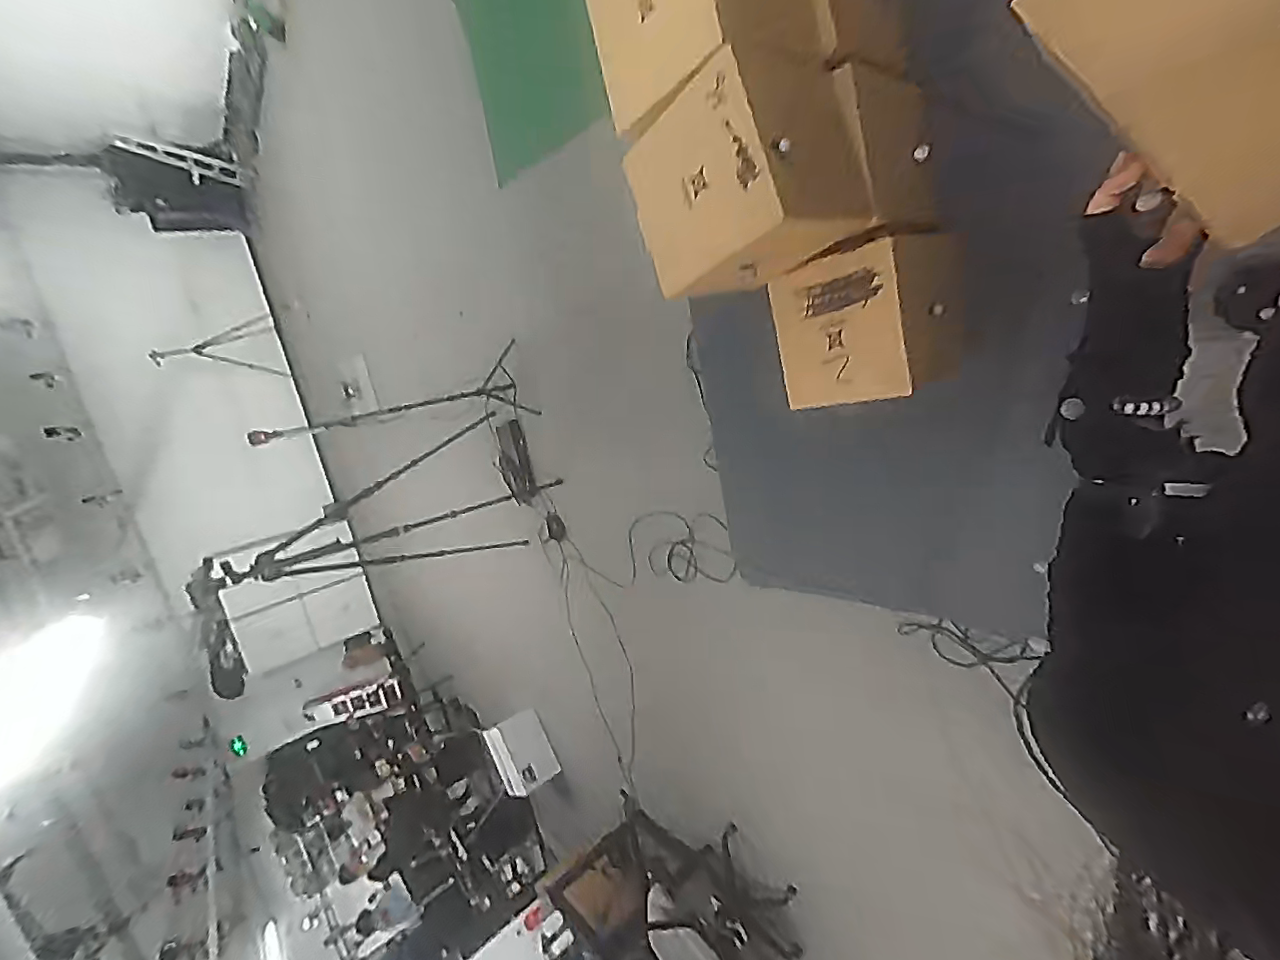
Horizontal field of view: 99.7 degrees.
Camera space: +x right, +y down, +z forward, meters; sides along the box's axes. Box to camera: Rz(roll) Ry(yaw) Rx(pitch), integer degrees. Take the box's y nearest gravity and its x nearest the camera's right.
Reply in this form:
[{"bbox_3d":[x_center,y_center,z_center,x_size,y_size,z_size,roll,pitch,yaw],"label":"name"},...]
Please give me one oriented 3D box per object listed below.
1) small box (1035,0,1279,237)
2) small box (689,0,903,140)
[{"bbox_3d":[0.343,-0.256,0.270,0.179,0.176,0.168,53,136,4],"label":"small box"},{"bbox_3d":[0.192,-0.547,0.667,0.179,0.176,0.168,-1,107,51],"label":"small box"}]
